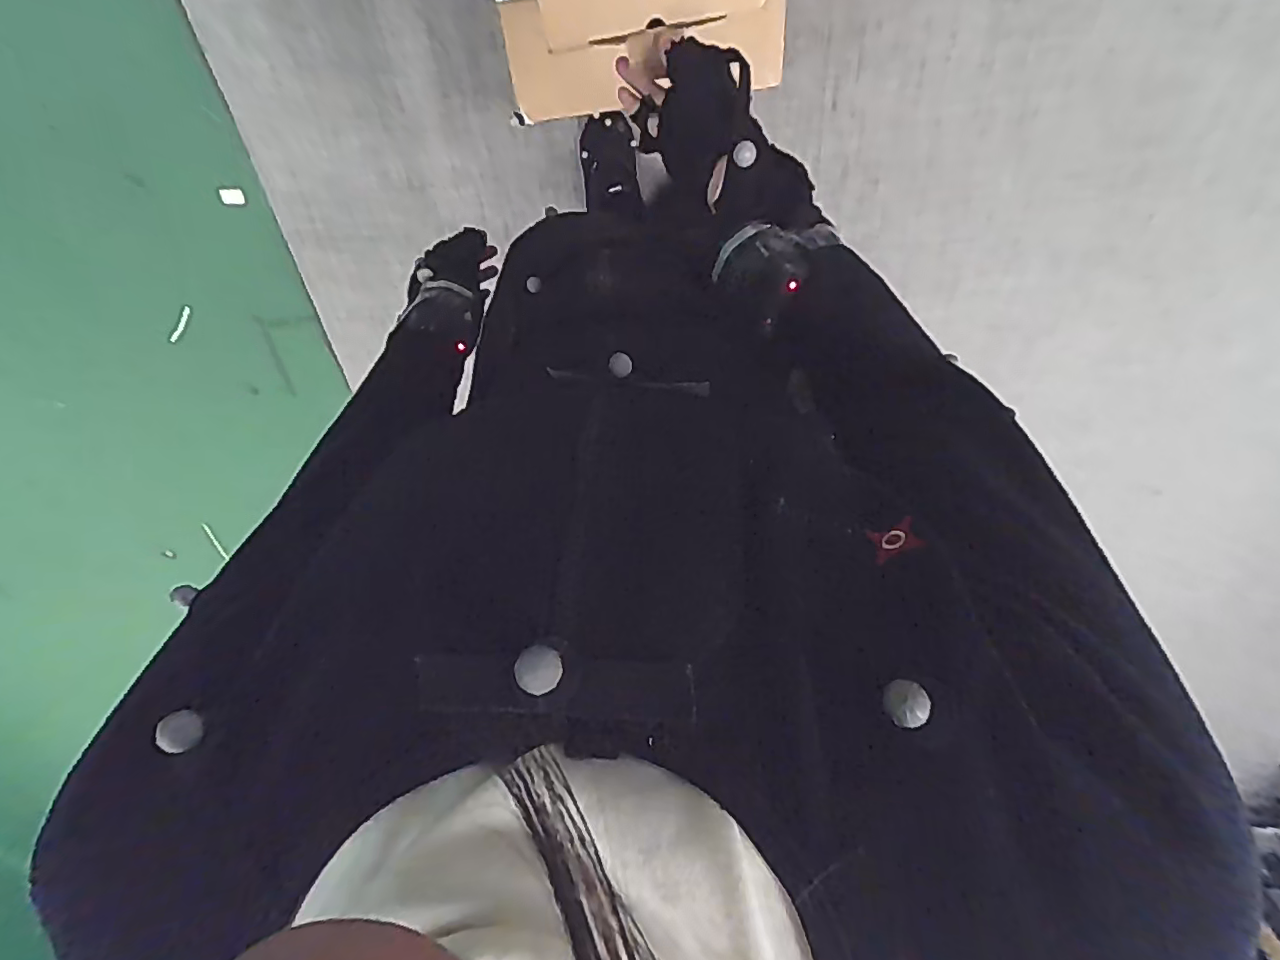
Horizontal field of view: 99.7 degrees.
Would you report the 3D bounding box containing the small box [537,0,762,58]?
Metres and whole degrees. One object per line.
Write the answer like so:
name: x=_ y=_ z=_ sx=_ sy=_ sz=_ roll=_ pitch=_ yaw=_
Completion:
small box: x=-0.004 y=-0.450 z=0.406 sx=0.168 sy=0.176 sz=0.179 roll=-8 pitch=133 yaw=4
